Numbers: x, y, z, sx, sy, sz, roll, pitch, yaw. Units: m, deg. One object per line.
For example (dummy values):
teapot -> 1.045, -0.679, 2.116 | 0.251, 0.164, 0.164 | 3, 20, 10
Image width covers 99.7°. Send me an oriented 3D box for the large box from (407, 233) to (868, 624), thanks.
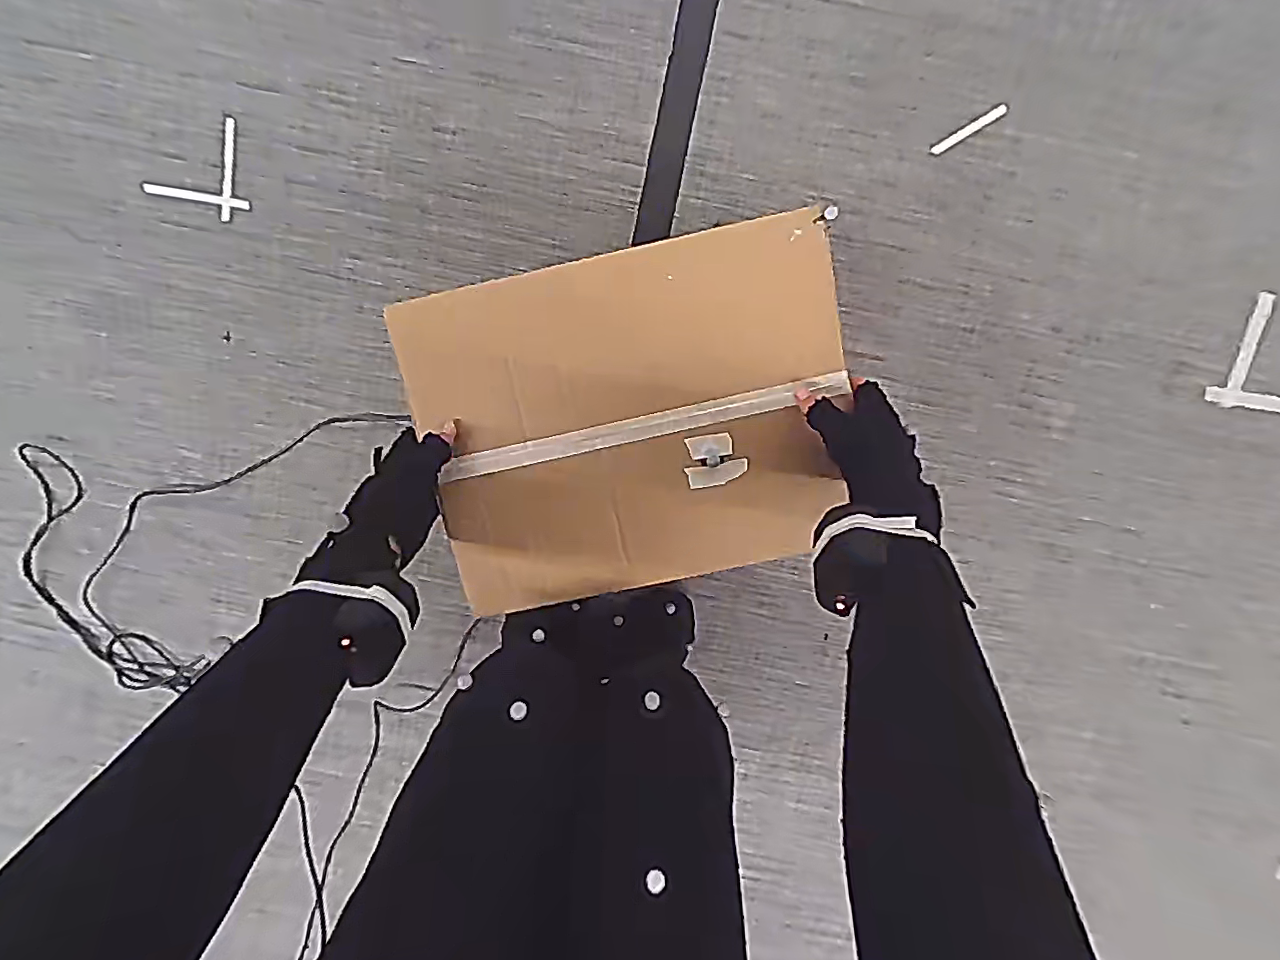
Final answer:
large box -> 0.004, -0.061, 0.668 | 0.408, 0.320, 0.320 | -11, 100, 3
